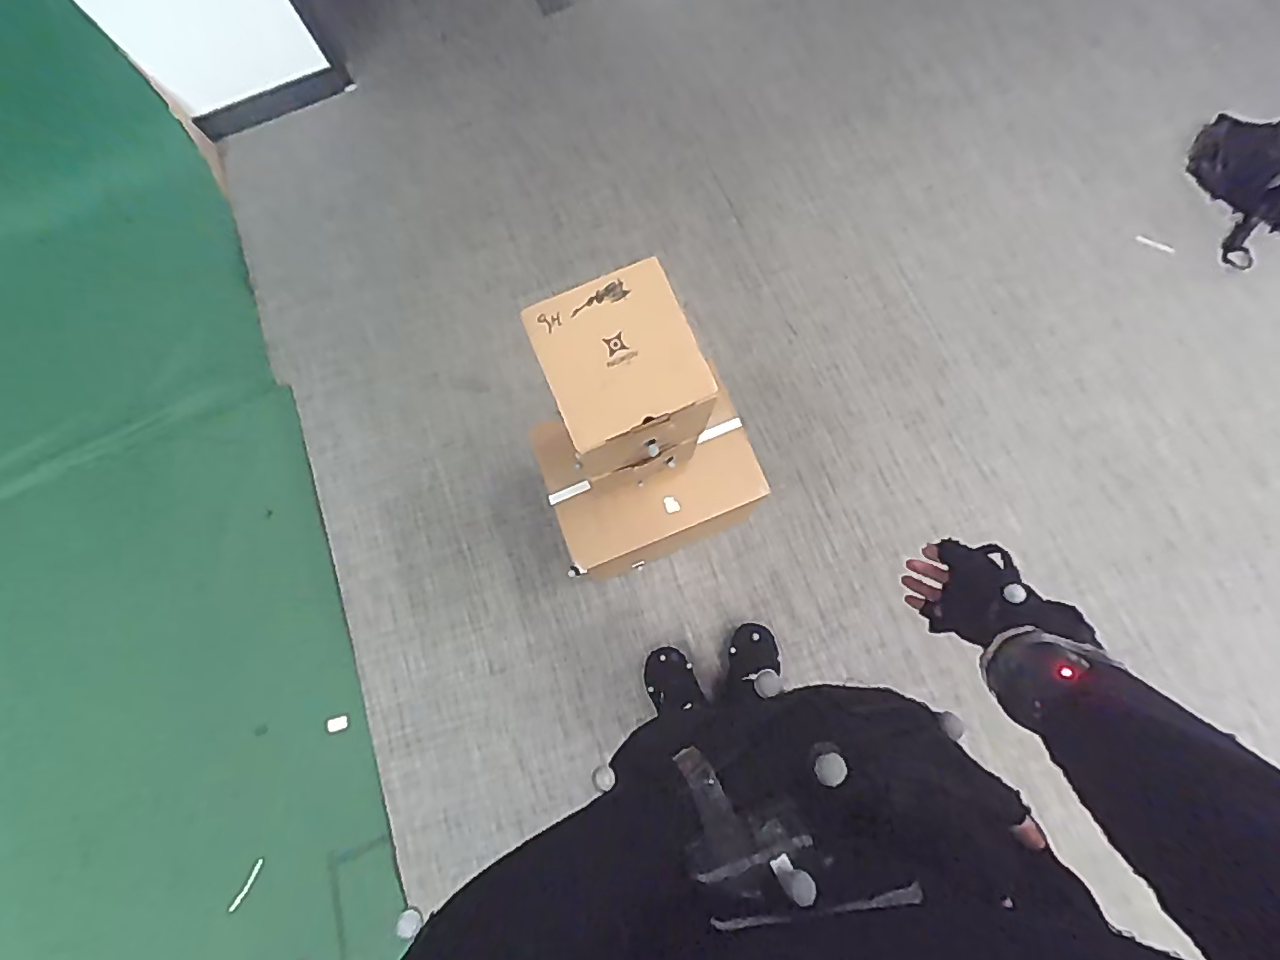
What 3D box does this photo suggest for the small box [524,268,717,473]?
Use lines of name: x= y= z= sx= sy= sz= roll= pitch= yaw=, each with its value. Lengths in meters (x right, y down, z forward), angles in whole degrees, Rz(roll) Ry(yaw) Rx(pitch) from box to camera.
small box: x=-0.020 y=-0.118 z=0.667 sx=0.168 sy=0.176 sz=0.179 roll=-23 pitch=82 yaw=-3

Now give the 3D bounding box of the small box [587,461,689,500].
small box: x=-0.019 y=-0.070 z=0.986 sx=0.179 sy=0.176 sz=0.168 roll=-16 pitch=79 yaw=0

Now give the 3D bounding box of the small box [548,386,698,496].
small box: x=-0.023 y=-0.085 z=0.827 sx=0.168 sy=0.176 sz=0.179 roll=-24 pitch=80 yaw=-3
